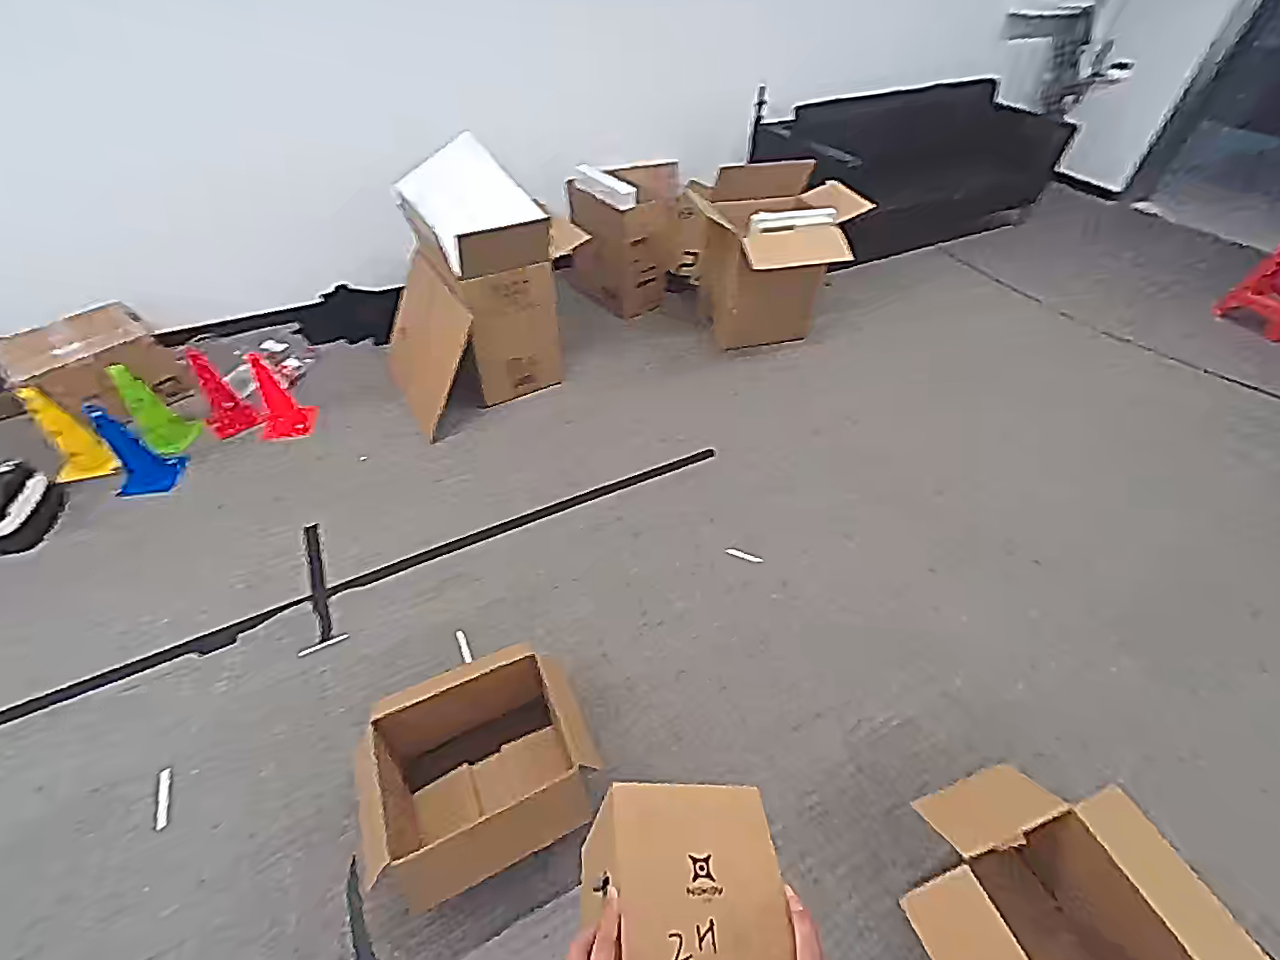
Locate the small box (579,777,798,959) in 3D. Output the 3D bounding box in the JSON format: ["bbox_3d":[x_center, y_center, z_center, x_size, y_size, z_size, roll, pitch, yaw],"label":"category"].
[{"bbox_3d":[0.032,0.433,0.550,0.168,0.176,0.179,7,35,-13],"label":"small box"}]
